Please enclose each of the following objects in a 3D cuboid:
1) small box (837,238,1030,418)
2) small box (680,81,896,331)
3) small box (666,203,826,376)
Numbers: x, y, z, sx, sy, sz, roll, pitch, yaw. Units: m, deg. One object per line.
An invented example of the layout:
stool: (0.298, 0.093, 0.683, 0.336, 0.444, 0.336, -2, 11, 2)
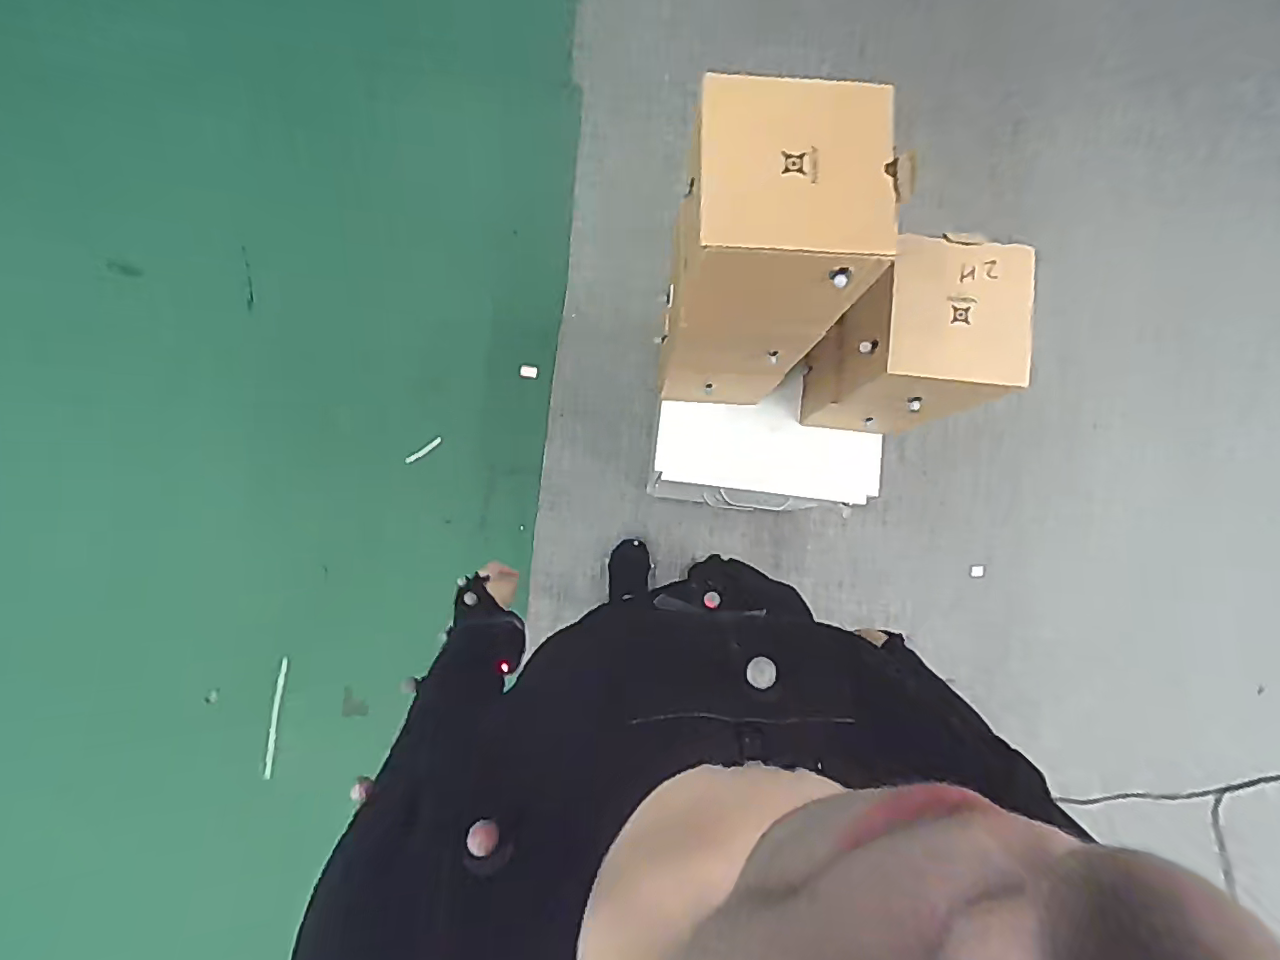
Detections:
small box: (0.374, -0.187, 0.717, 0.168, 0.176, 0.179, 6, 84, 0)
small box: (0.137, -0.265, 0.559, 0.179, 0.176, 0.168, 2, 83, -3)
small box: (0.131, -0.243, 0.720, 0.179, 0.176, 0.168, 1, 83, -2)
